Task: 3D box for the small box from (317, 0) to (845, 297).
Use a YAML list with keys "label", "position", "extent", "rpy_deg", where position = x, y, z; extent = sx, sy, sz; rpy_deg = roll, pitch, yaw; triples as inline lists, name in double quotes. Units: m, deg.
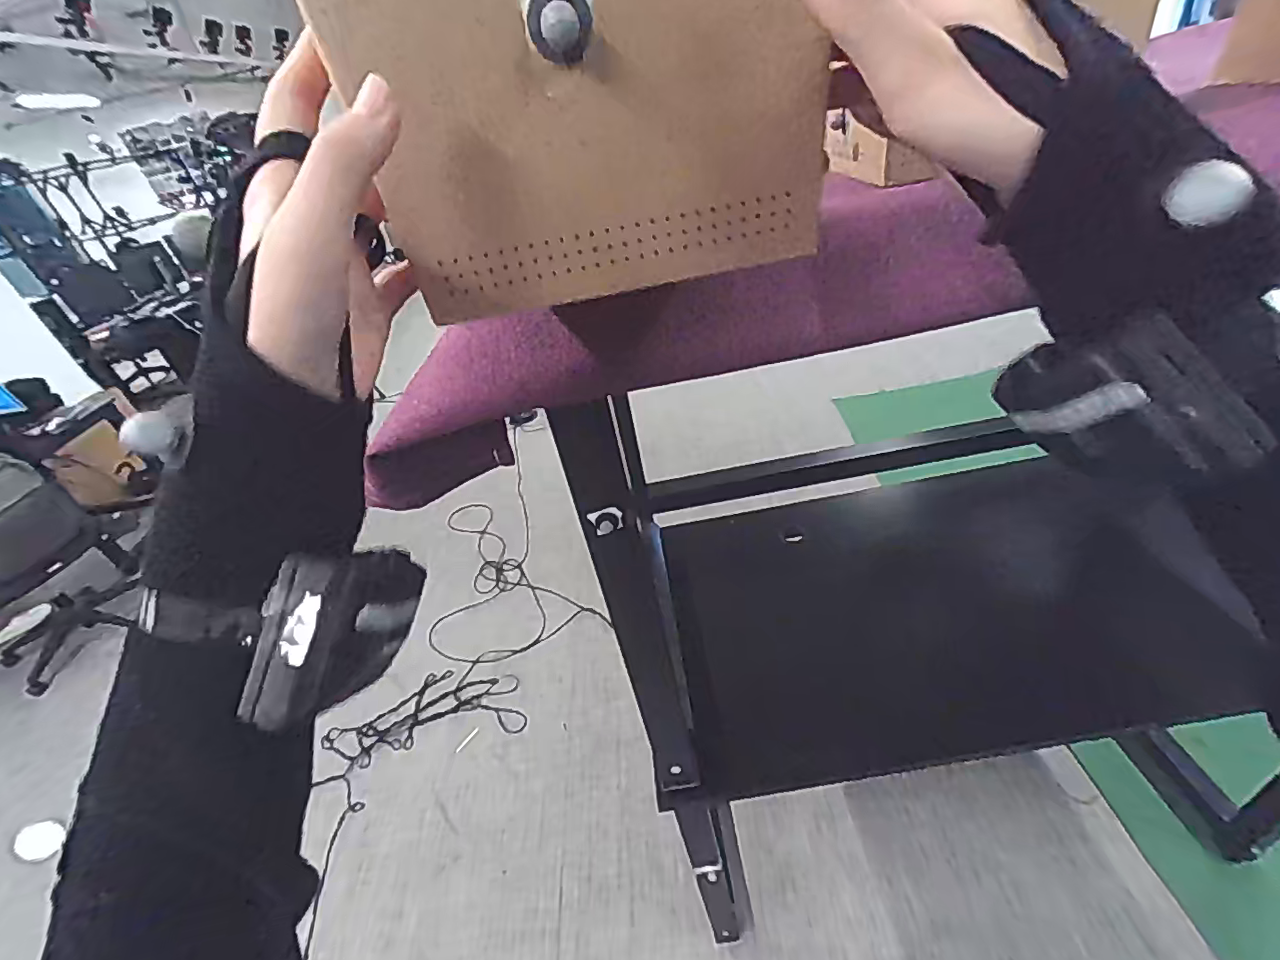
- label: "small box"
  position: [-0.022, -0.202, 0.235]
  extent: [0.179, 0.176, 0.168]
  rpy_deg: [-11, 43, 0]
